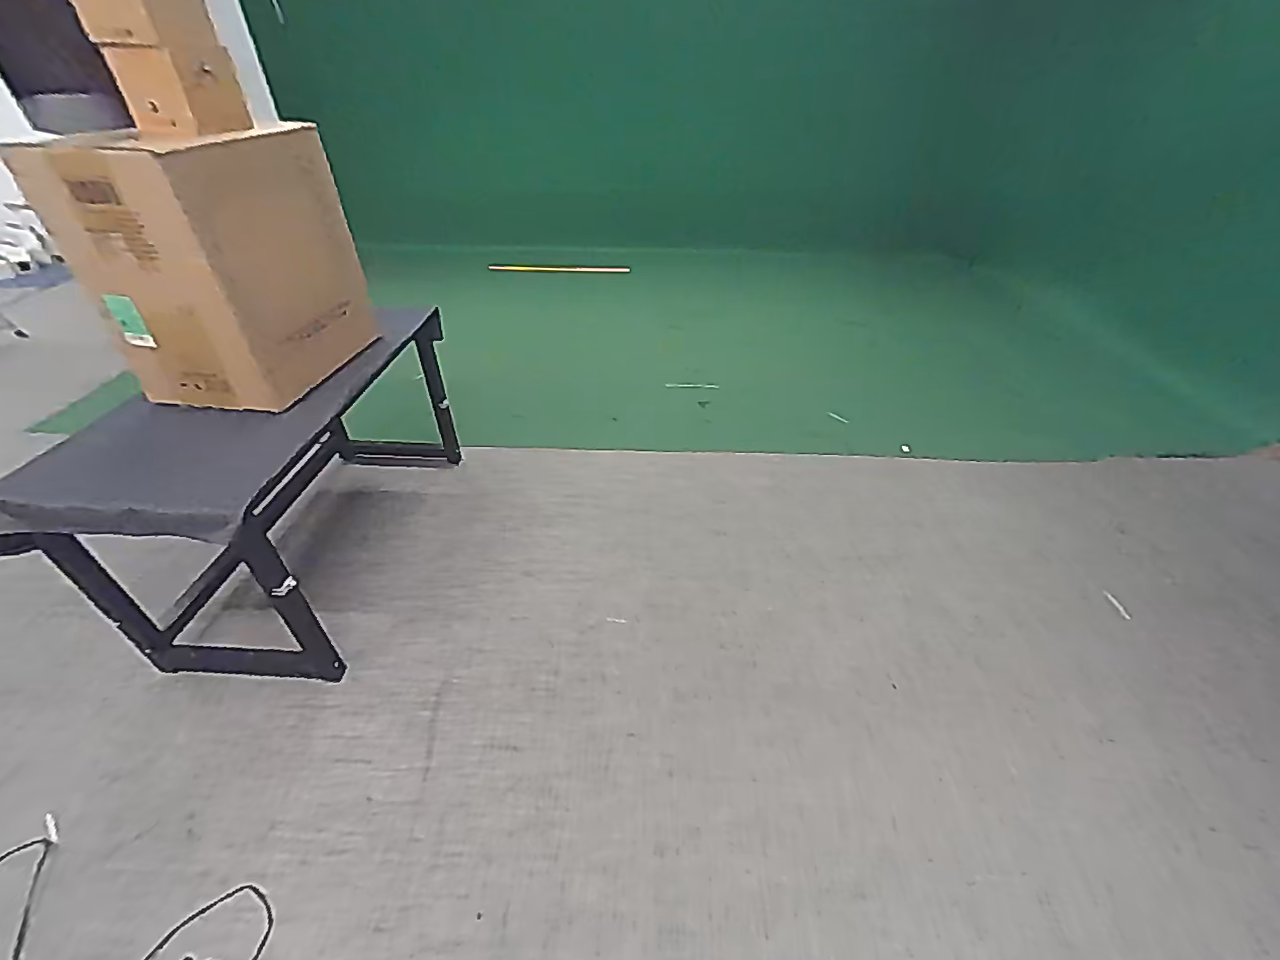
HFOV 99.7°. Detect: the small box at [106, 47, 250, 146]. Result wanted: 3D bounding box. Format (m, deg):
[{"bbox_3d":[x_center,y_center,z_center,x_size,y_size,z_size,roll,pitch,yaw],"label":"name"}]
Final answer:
[{"bbox_3d":[-1.065,-0.903,1.272,0.168,0.176,0.179,9,40,6],"label":"small box"}]
